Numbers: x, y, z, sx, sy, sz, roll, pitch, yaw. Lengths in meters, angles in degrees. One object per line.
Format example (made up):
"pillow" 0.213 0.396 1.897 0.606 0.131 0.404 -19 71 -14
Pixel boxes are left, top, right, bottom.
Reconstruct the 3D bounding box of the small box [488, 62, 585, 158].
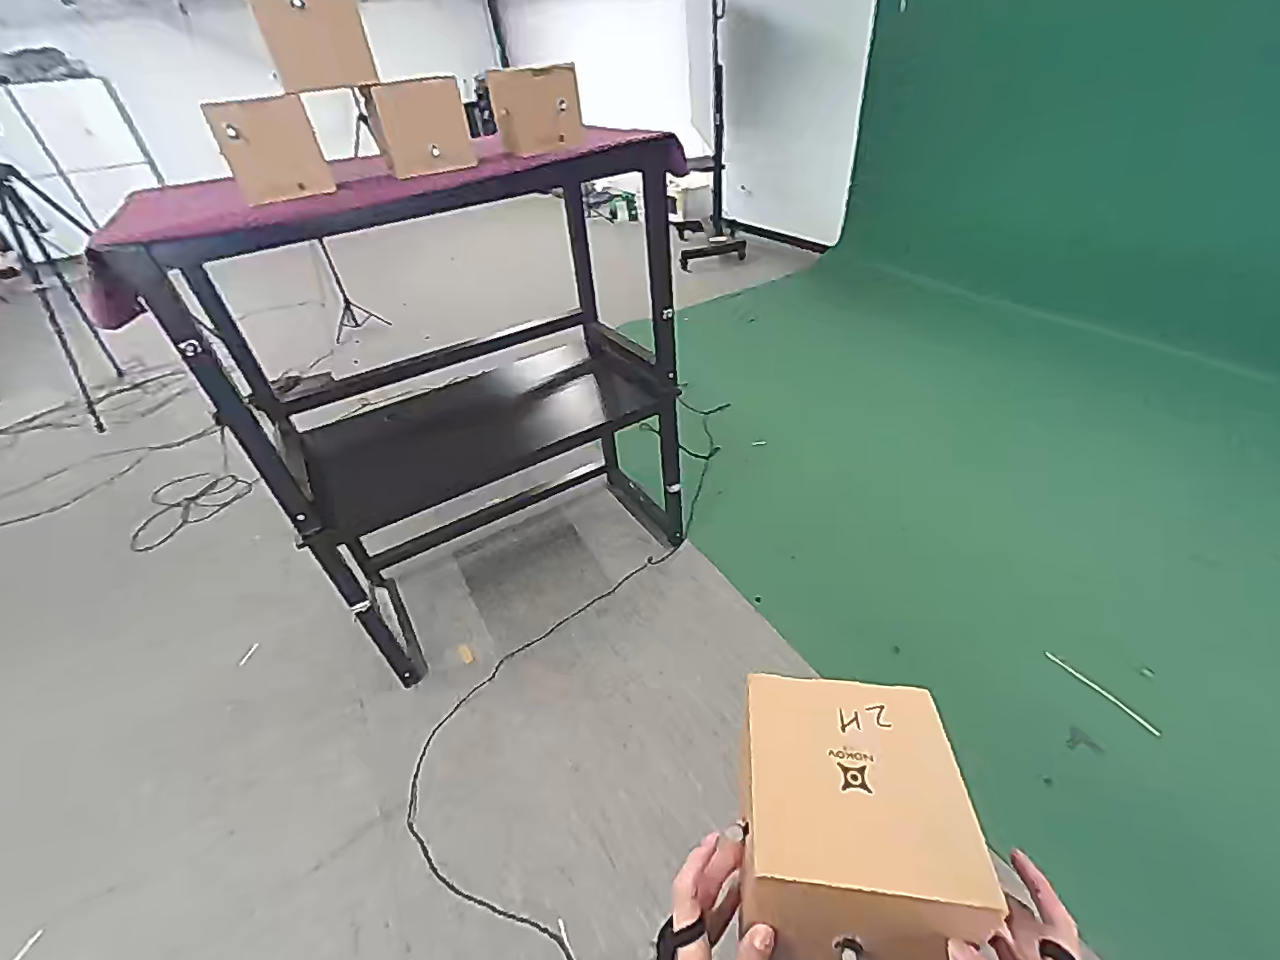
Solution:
"small box" -0.243 -0.880 1.290 0.168 0.176 0.179 -21 41 -18

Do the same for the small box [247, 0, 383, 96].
"small box" -0.622 -0.846 1.036 0.179 0.176 0.168 -22 40 -20

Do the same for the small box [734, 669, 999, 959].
"small box" 0.172 0.298 0.474 0.168 0.176 0.179 3 31 8
